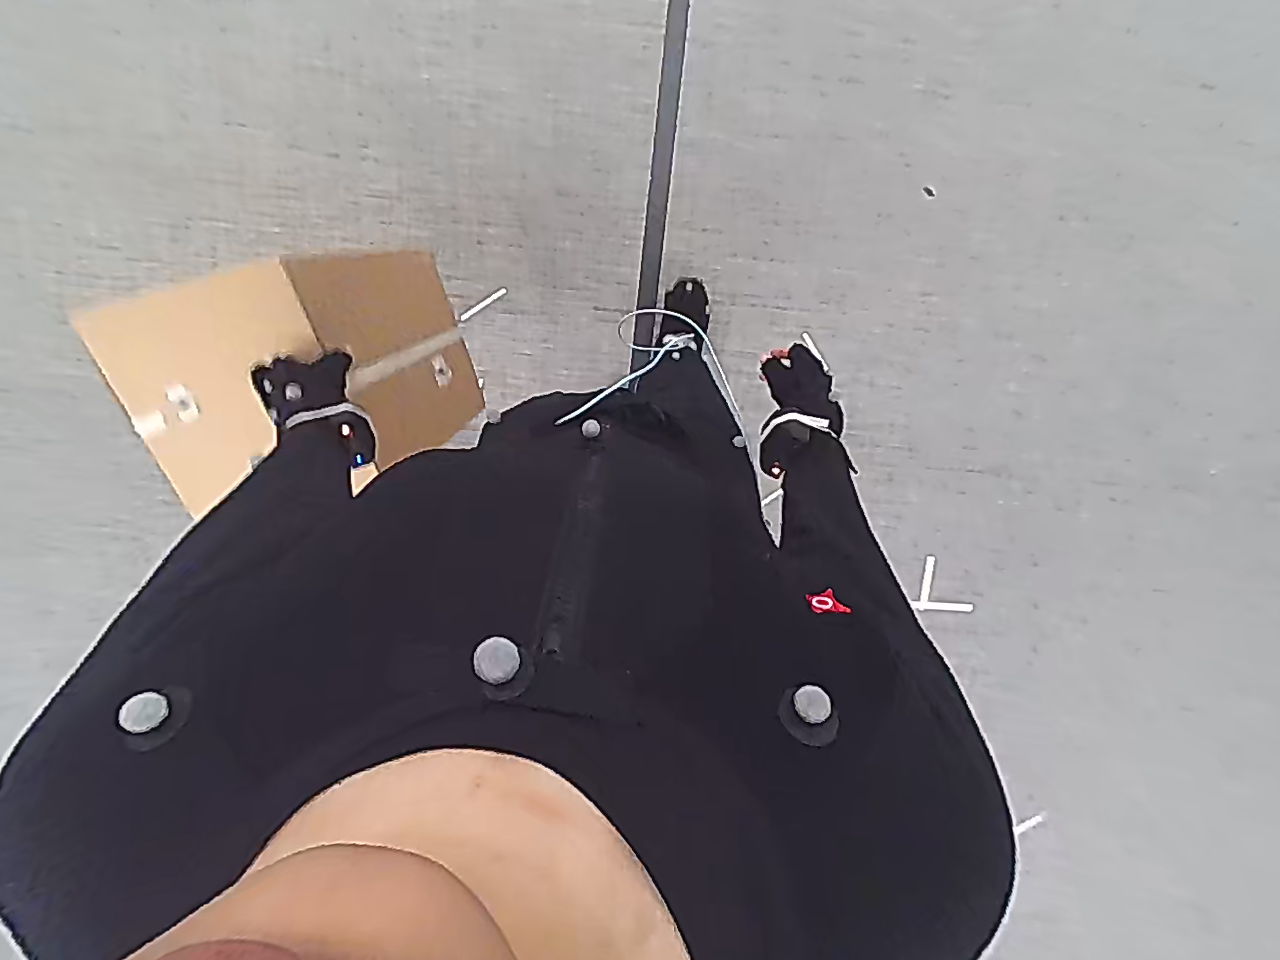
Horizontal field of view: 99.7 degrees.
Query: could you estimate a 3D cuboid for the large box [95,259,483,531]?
[{"bbox_3d":[-0.524,-0.163,0.913,0.320,0.408,0.320,-11,113,9],"label":"large box"}]
